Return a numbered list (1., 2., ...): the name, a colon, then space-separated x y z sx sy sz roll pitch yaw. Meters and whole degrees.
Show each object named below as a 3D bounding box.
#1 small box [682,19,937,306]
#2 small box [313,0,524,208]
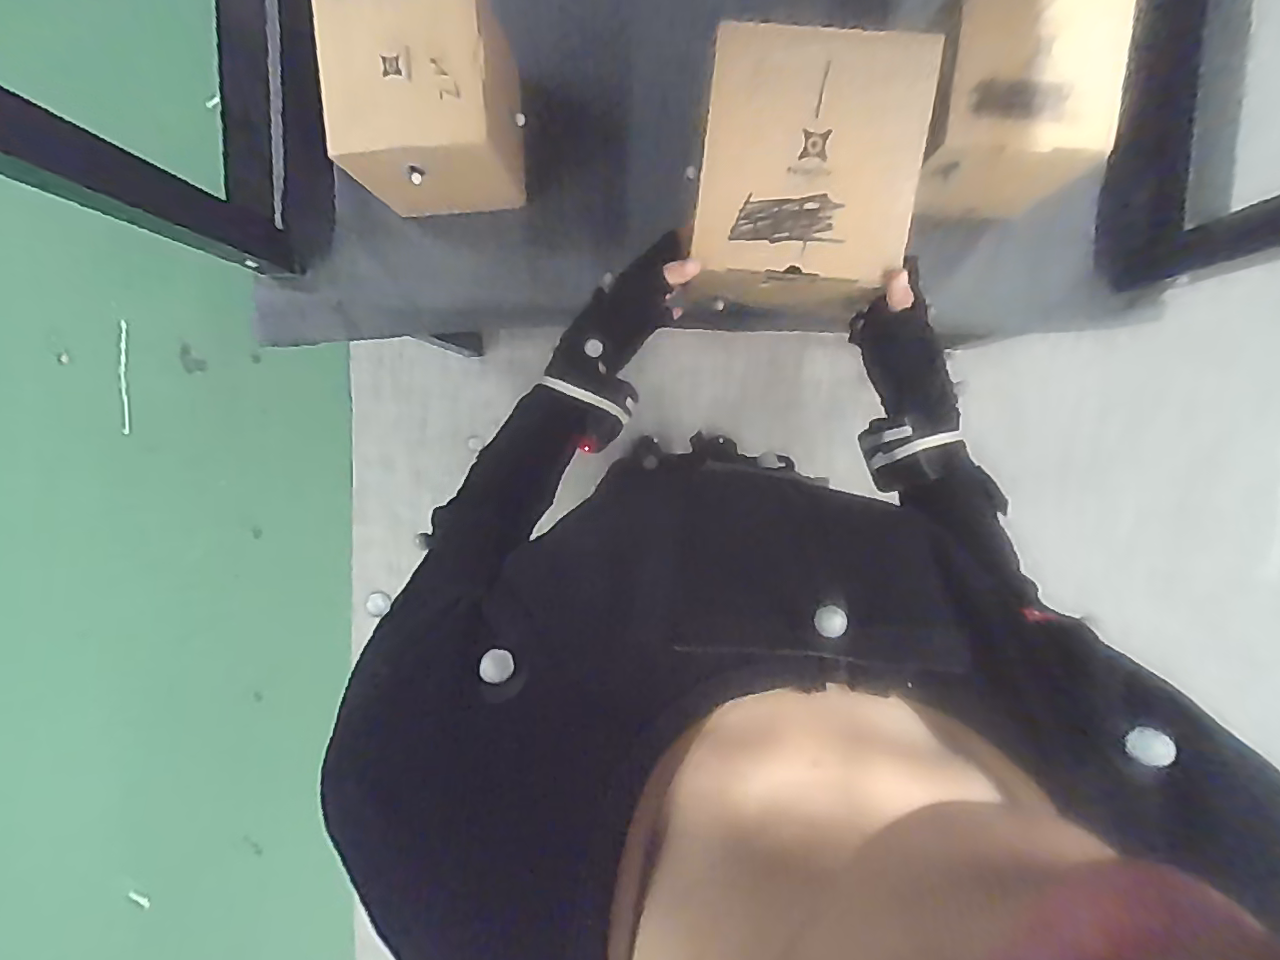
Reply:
1. small box: 0.132 -0.262 0.491 0.168 0.176 0.179 8 101 3
2. small box: -0.248 -0.441 0.643 0.179 0.176 0.168 -2 96 2
